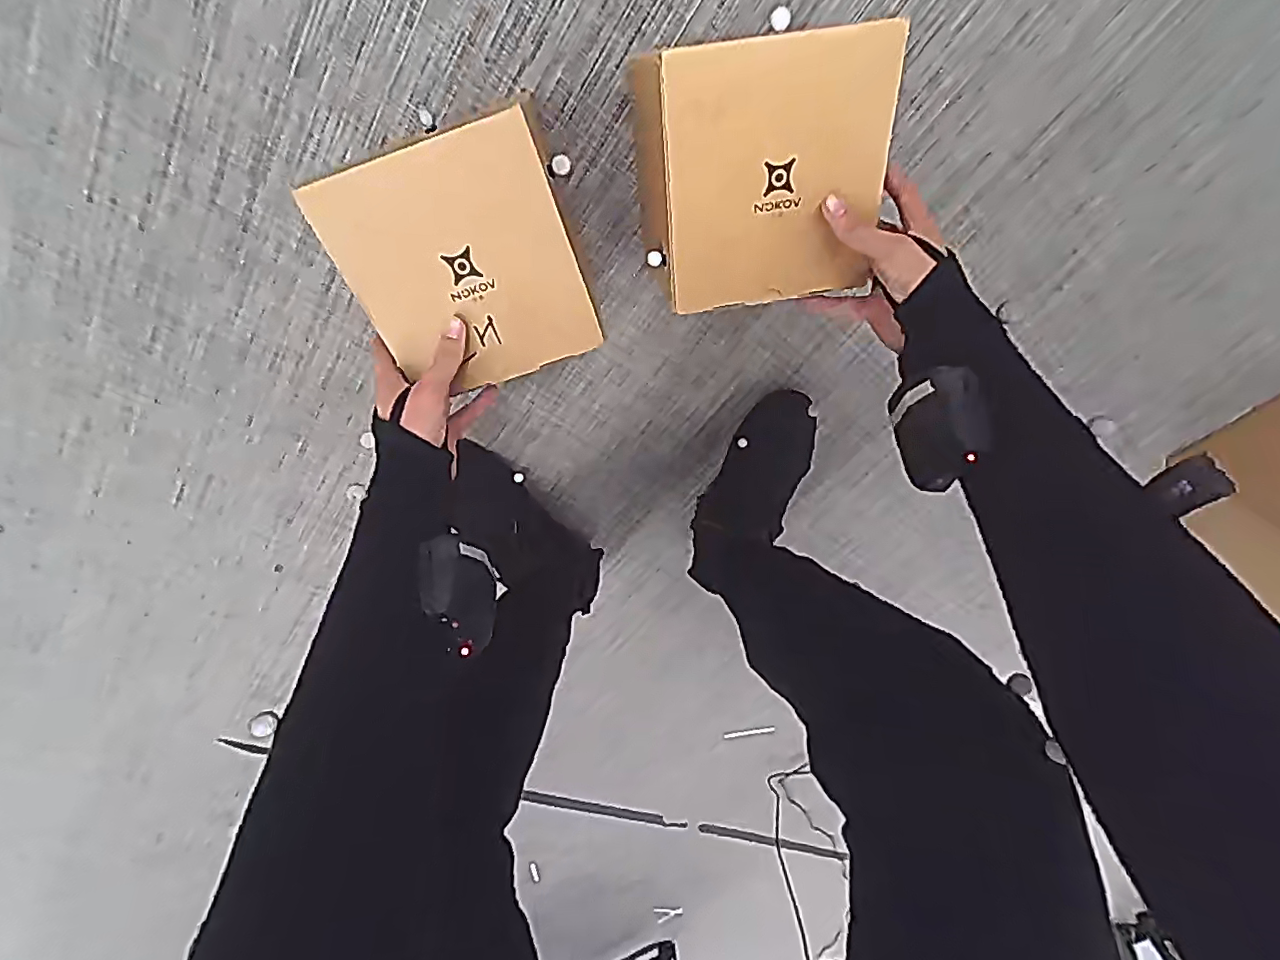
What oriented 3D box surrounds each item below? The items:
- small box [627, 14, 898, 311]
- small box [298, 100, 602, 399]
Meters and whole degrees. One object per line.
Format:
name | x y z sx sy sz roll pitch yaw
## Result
small box | 0.087 -0.268 0.463 0.168 0.176 0.179 -10 128 -2
small box | -0.142 -0.204 0.470 0.168 0.176 0.179 -17 128 4
